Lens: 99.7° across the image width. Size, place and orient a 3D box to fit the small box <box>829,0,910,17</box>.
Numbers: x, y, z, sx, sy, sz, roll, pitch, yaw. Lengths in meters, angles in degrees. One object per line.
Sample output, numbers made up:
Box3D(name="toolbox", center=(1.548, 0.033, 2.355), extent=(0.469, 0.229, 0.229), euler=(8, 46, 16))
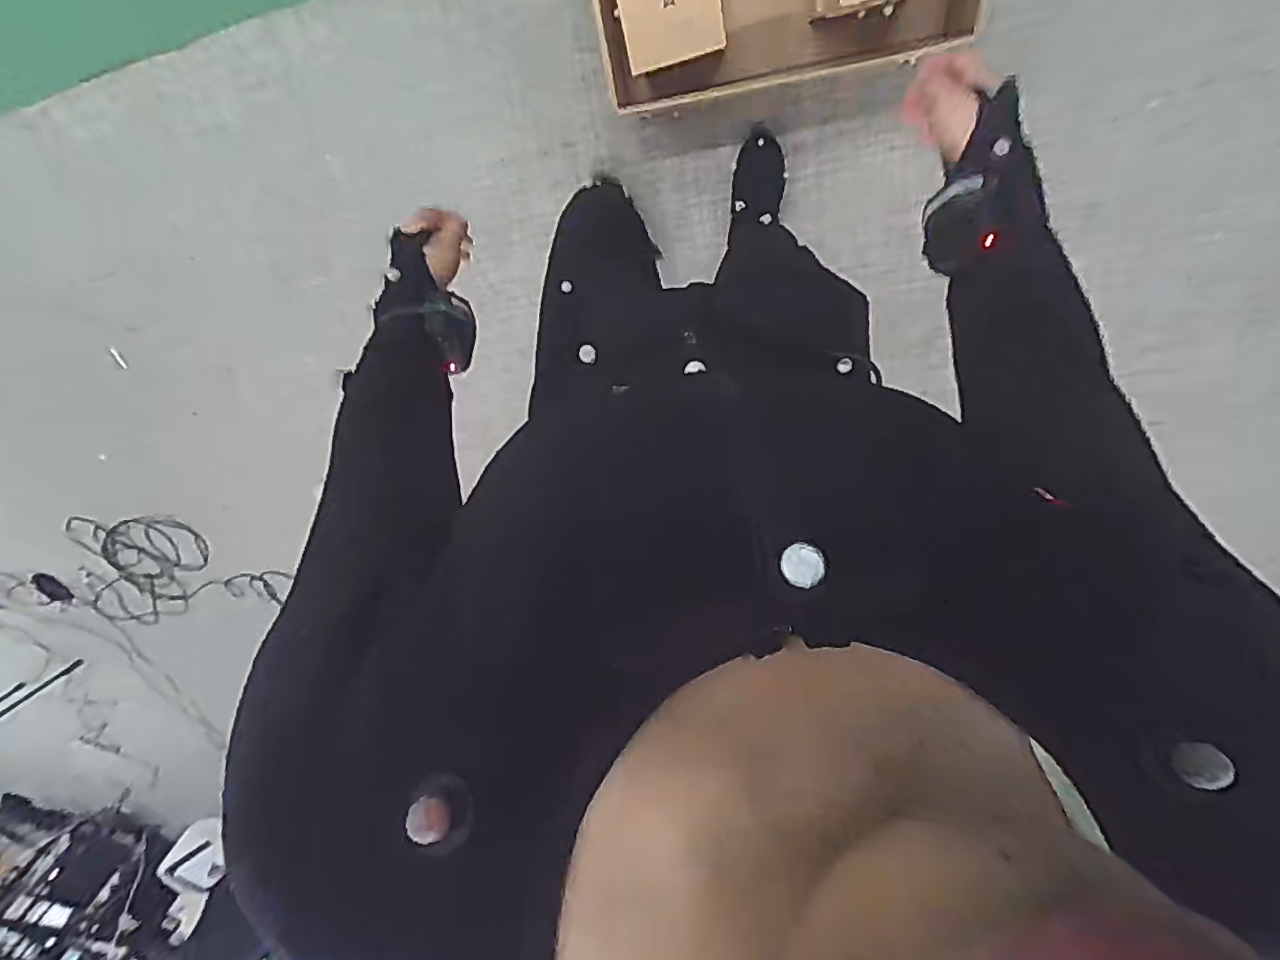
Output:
Box3D(name="small box", center=(0.346, -0.747, 0.714), extent=(0.168, 0.176, 0.179), euler=(-3, 127, 14))
